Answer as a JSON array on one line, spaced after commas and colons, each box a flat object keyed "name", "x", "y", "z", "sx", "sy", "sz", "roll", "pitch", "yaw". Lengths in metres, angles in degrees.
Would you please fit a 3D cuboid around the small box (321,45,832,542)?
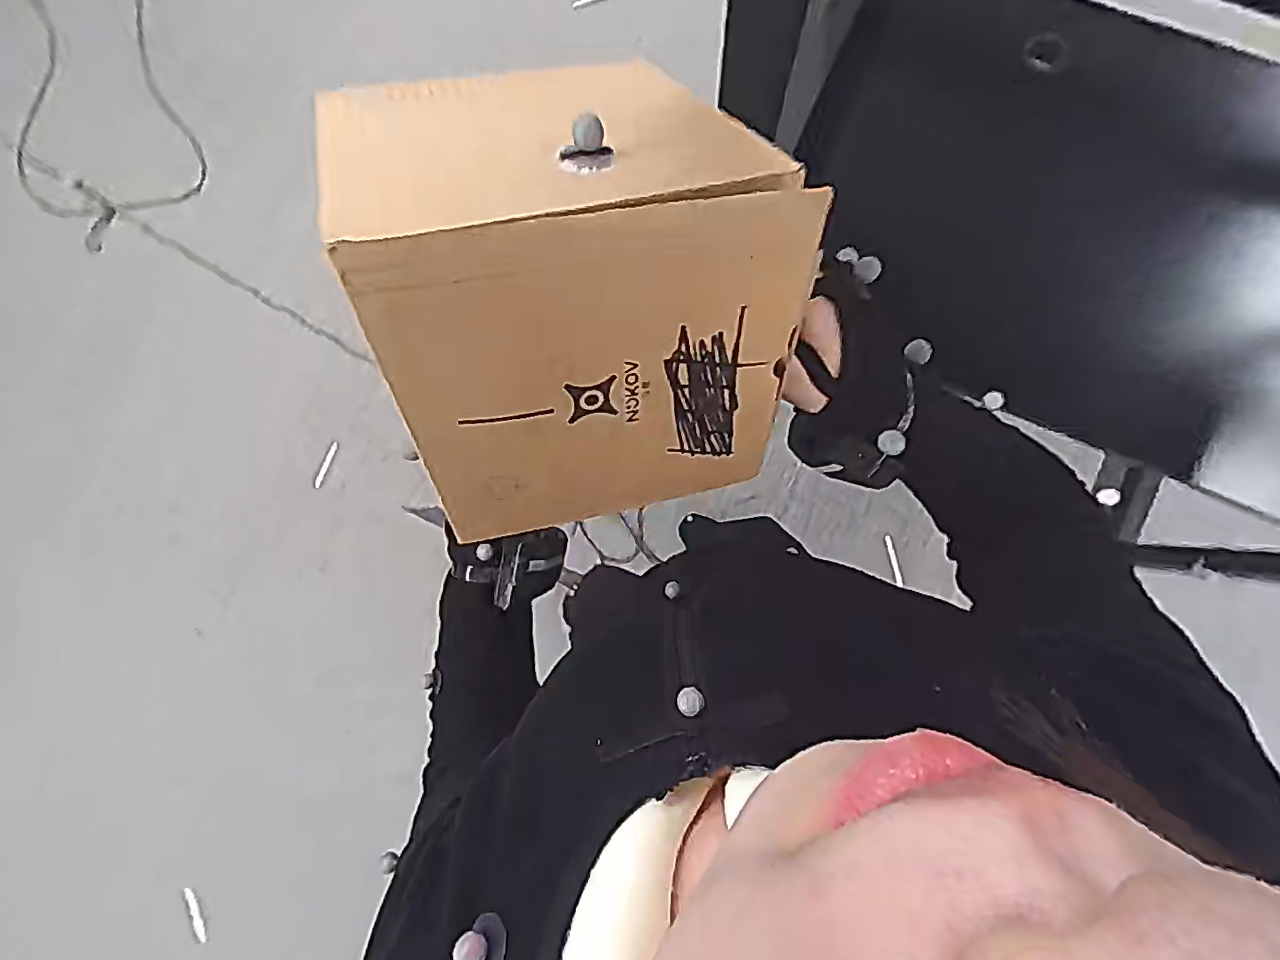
[{"name": "small box", "x": -0.041, "y": -0.101, "z": 0.280, "sx": 0.179, "sy": 0.168, "sz": 0.176, "roll": -16, "pitch": 52, "yaw": -14}]
